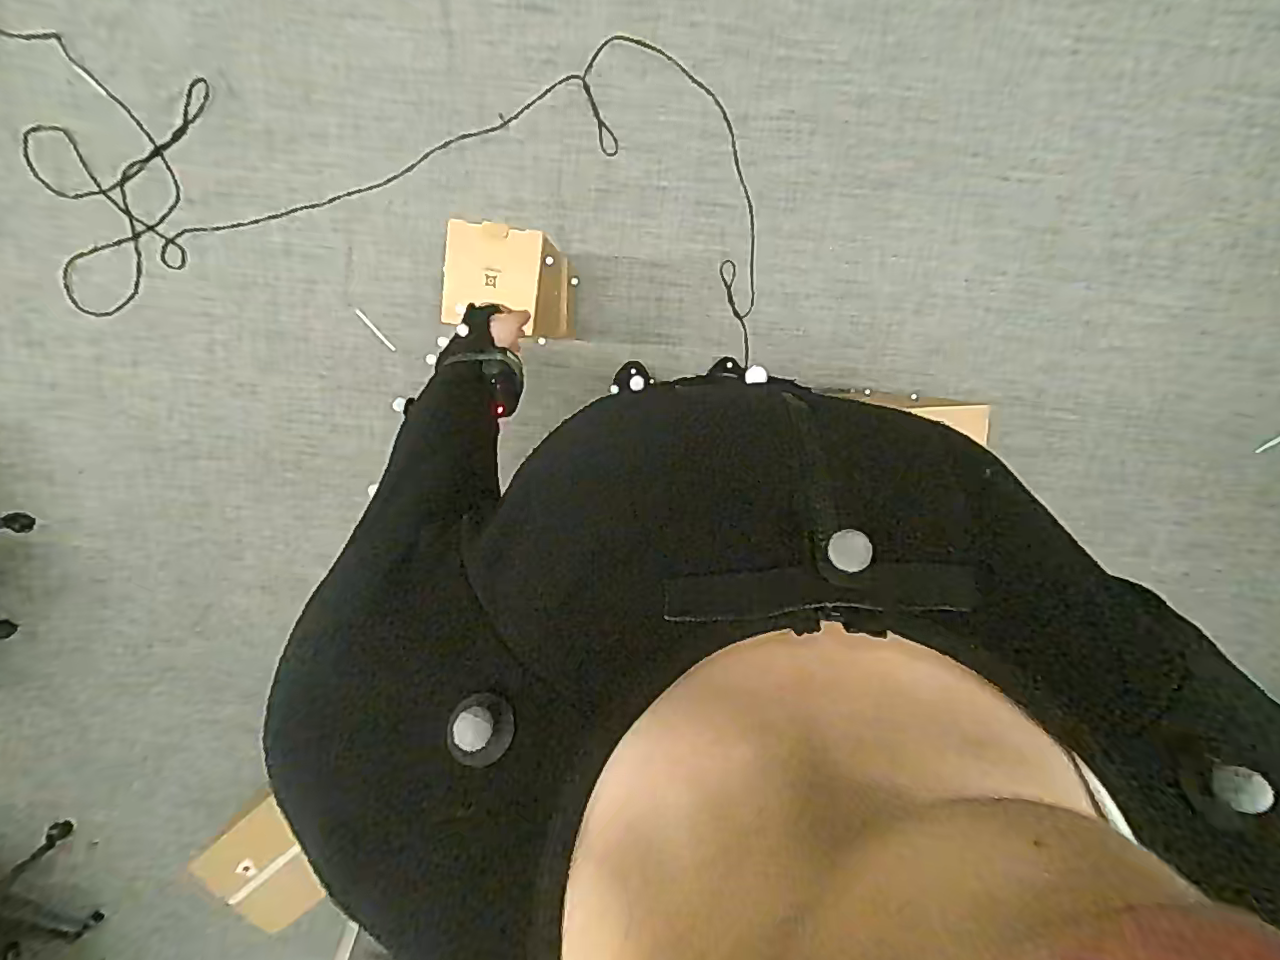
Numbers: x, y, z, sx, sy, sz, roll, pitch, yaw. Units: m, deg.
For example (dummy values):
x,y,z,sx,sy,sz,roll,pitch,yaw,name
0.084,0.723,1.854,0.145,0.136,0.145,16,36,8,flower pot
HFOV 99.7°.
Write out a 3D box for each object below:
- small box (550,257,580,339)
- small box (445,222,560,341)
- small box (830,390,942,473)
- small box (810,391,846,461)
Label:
x,y,z,sx,sy,sz,roll,pitch,yaw,name
-0.244,-0.446,1.336,0.168,0.176,0.179,2,102,2,small box
-0.252,-0.363,1.020,0.168,0.176,0.179,8,101,0,small box
0.544,-0.113,1.223,0.179,0.176,0.168,0,104,0,small box
0.549,-0.138,1.384,0.179,0.176,0.168,3,103,1,small box
